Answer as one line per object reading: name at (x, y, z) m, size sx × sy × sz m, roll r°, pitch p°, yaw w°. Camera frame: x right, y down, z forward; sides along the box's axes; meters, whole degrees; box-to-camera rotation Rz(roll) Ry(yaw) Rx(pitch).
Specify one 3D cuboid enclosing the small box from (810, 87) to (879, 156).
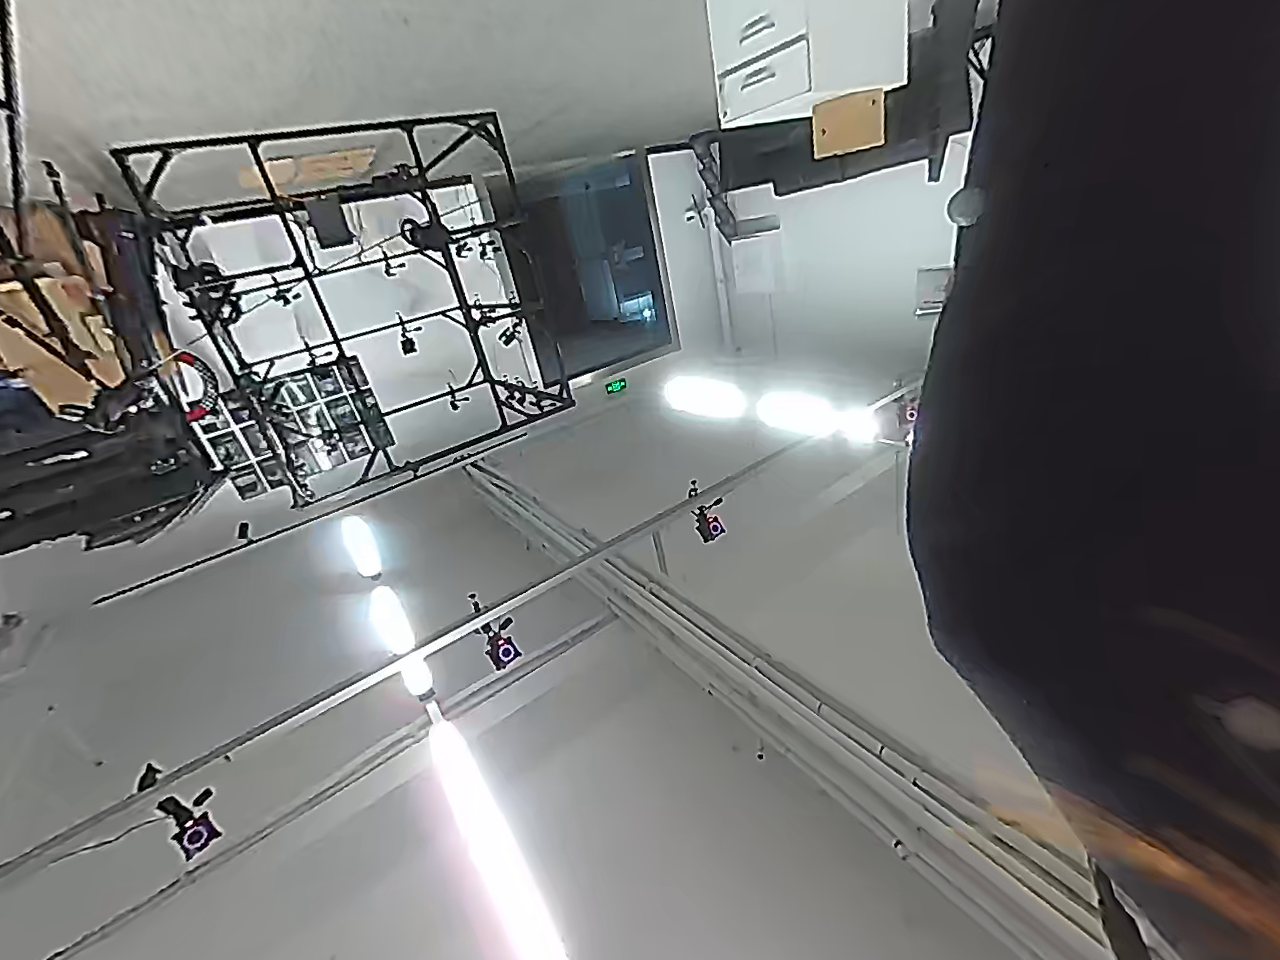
small box at (0.715, -1.252, 1.888) m, size 0.168 × 0.176 × 0.179 m, roll -29°, pitch -150°, yaw -29°
